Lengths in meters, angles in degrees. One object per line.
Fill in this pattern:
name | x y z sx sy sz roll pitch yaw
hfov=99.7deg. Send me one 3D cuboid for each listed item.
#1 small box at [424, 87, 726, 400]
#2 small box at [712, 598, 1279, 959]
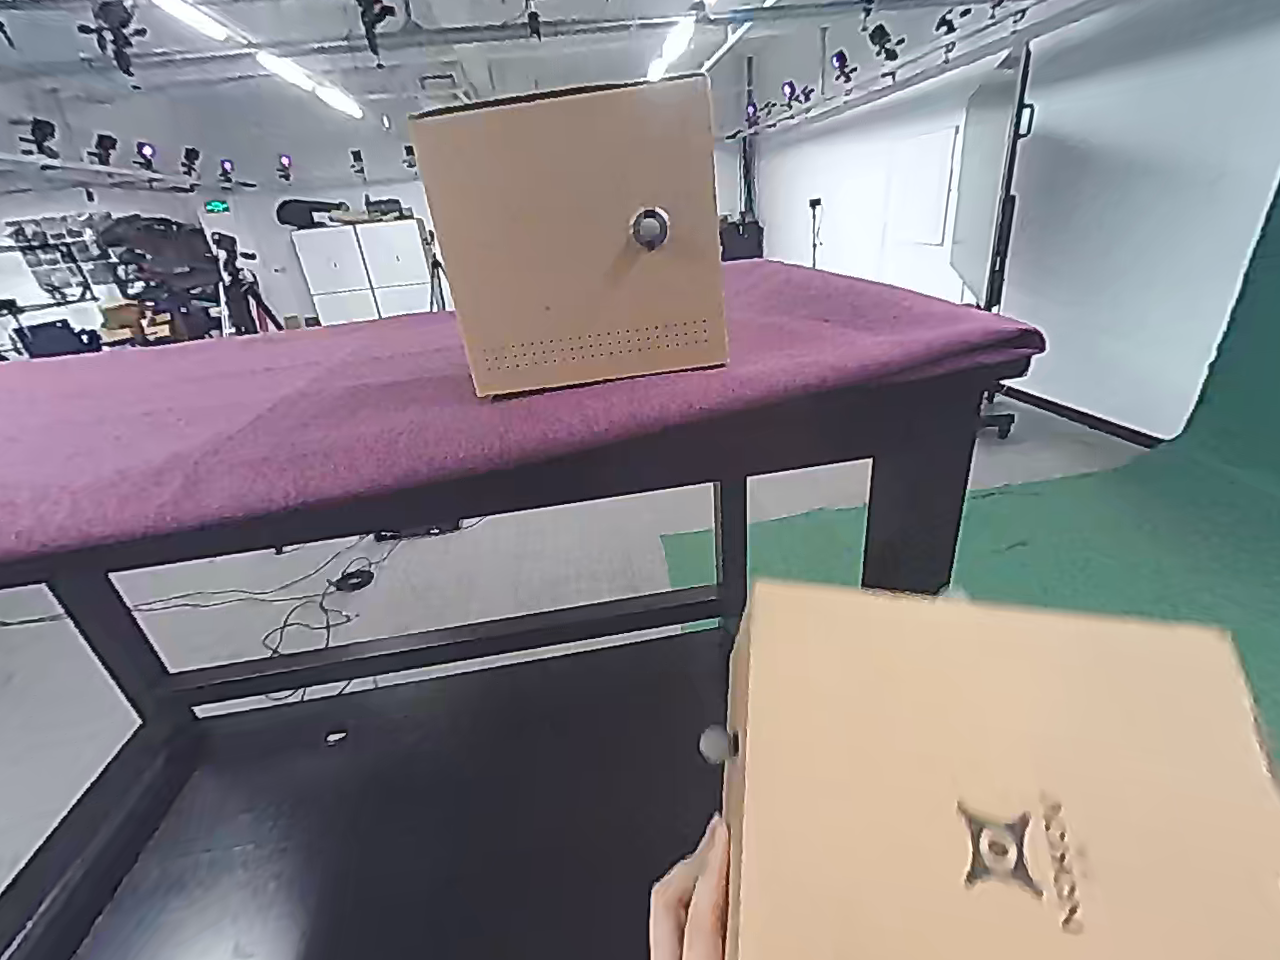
small box | -0.033 -0.170 0.414 0.179 0.176 0.168 -8 22 1
small box | 0.129 0.168 0.257 0.179 0.176 0.168 5 62 7
